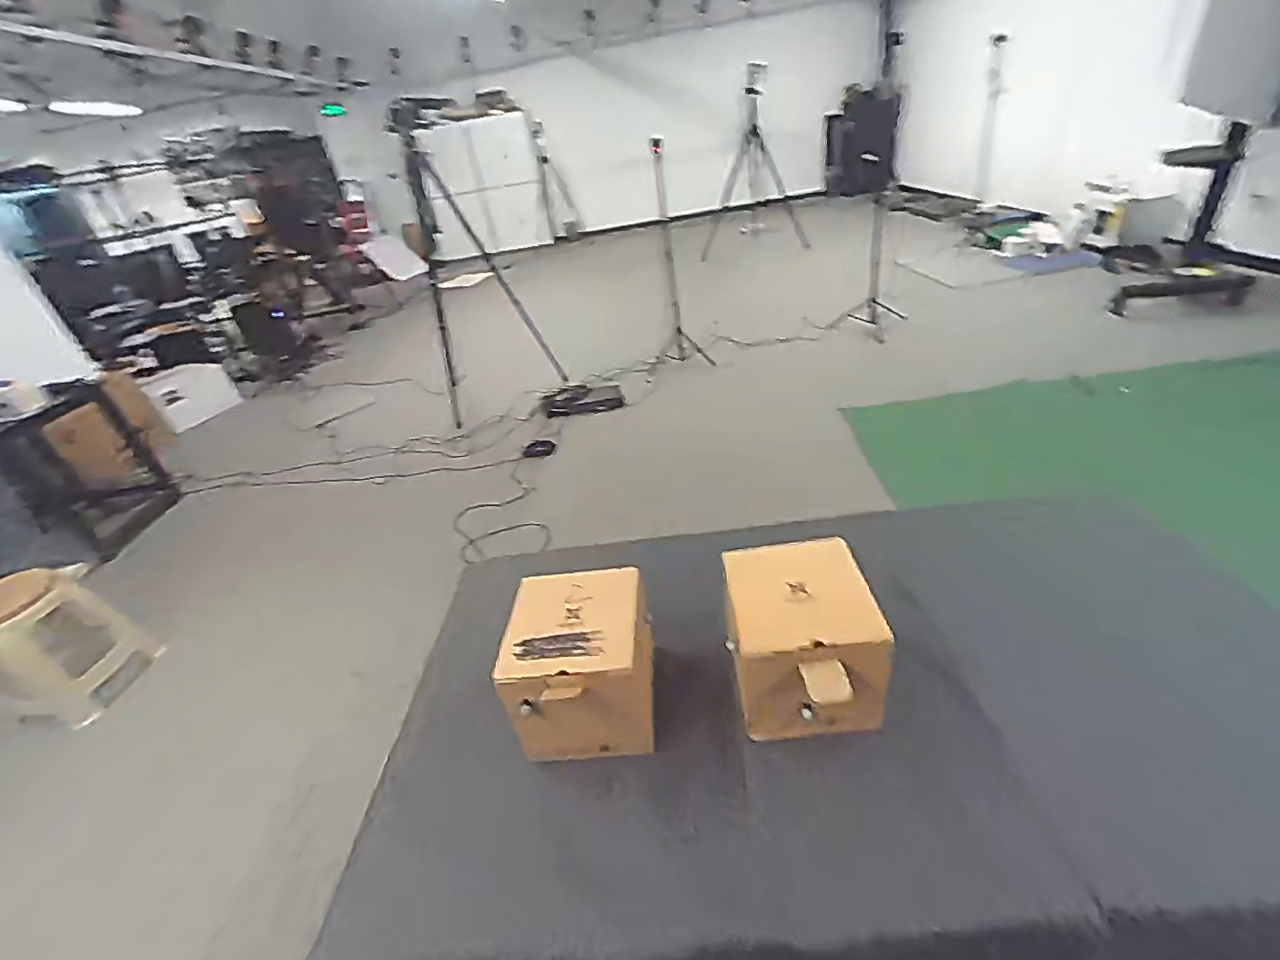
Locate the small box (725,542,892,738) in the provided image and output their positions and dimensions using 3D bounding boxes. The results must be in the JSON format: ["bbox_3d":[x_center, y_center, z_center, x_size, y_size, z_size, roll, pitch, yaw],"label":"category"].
[{"bbox_3d":[0.208,0.207,0.711,0.168,0.176,0.179,-8,33,4],"label":"small box"}]
